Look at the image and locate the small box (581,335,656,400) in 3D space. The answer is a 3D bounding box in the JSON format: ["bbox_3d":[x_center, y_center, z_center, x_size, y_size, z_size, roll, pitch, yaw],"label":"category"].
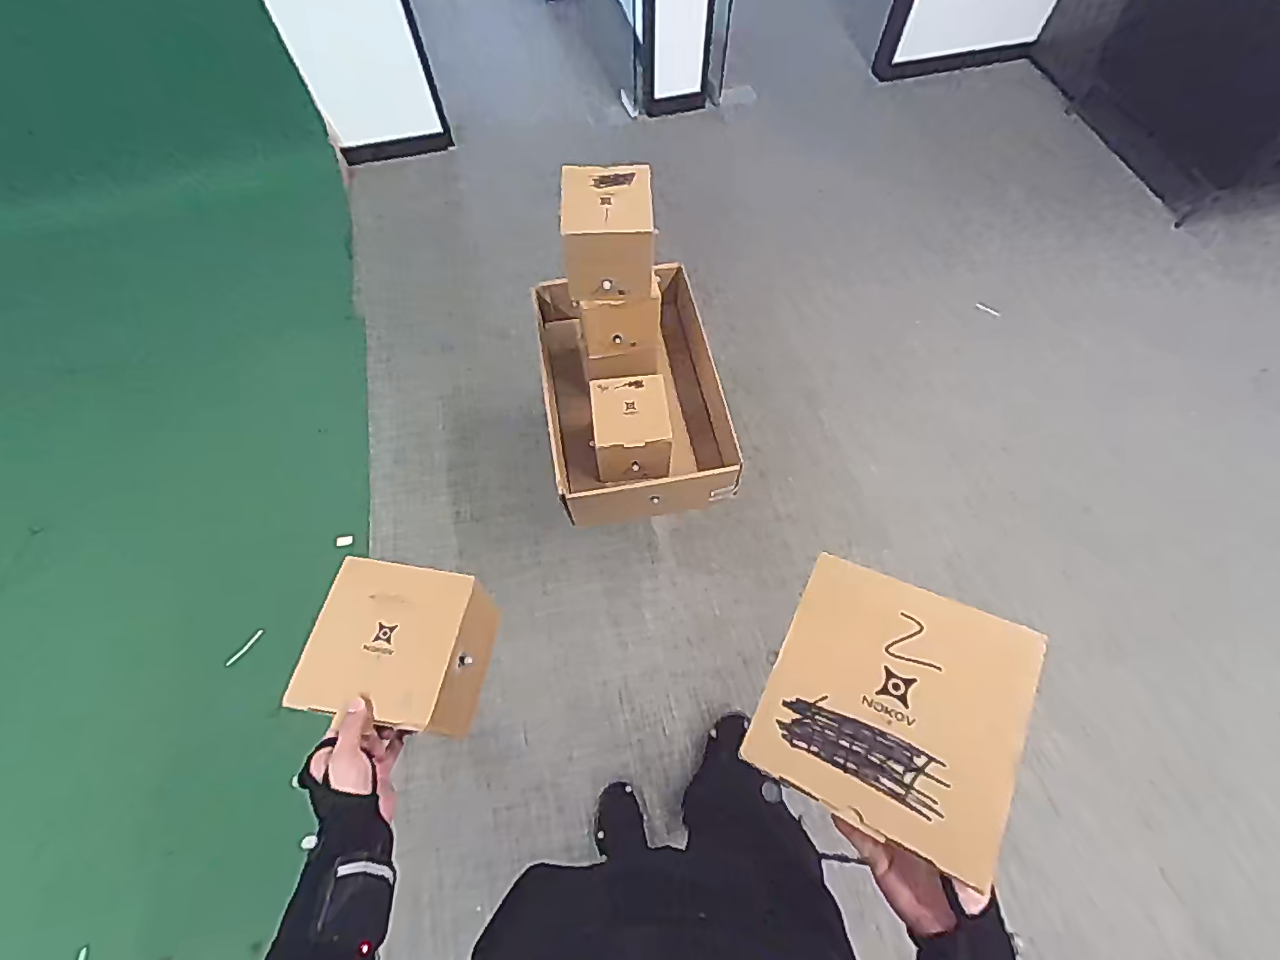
[{"bbox_3d":[-0.058,-0.326,1.350,0.168,0.176,0.179,-11,65,-4],"label":"small box"}]

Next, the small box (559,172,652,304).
[{"bbox_3d":[-0.064,-0.469,1.056,0.168,0.176,0.179,-2,65,-1],"label":"small box"}]

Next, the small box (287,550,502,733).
[{"bbox_3d":[-0.289,0.212,0.688,0.168,0.176,0.179,9,60,4],"label":"small box"}]

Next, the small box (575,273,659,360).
[{"bbox_3d":[-0.058,-0.394,1.203,0.168,0.176,0.179,-11,65,-5],"label":"small box"}]
